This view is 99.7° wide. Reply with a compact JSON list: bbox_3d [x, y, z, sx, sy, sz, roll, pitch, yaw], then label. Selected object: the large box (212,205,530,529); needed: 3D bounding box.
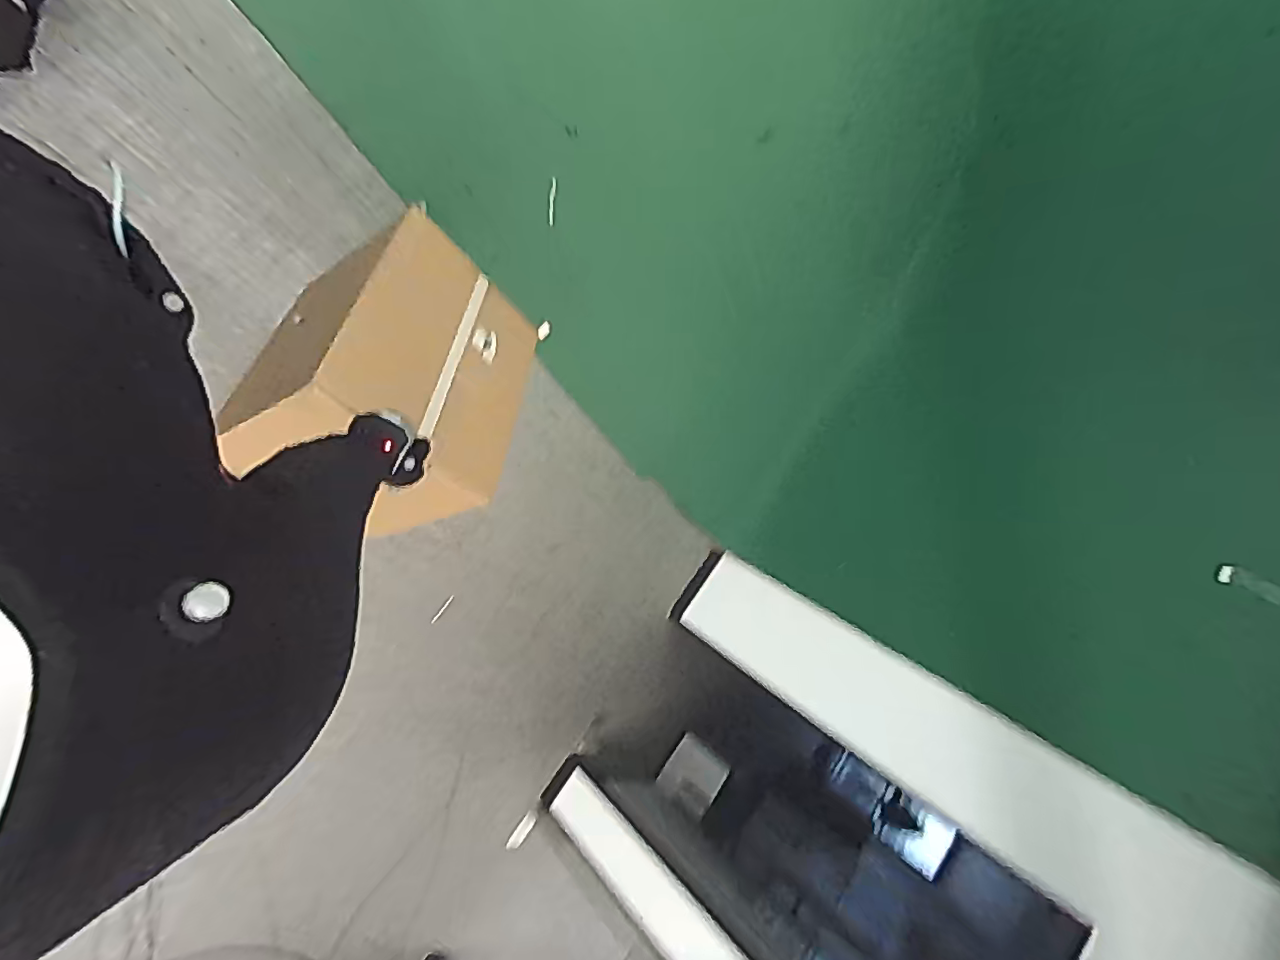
[{"bbox_3d":[-0.441,-0.177,0.958,0.320,0.320,0.408,44,40,-43],"label":"large box"}]
